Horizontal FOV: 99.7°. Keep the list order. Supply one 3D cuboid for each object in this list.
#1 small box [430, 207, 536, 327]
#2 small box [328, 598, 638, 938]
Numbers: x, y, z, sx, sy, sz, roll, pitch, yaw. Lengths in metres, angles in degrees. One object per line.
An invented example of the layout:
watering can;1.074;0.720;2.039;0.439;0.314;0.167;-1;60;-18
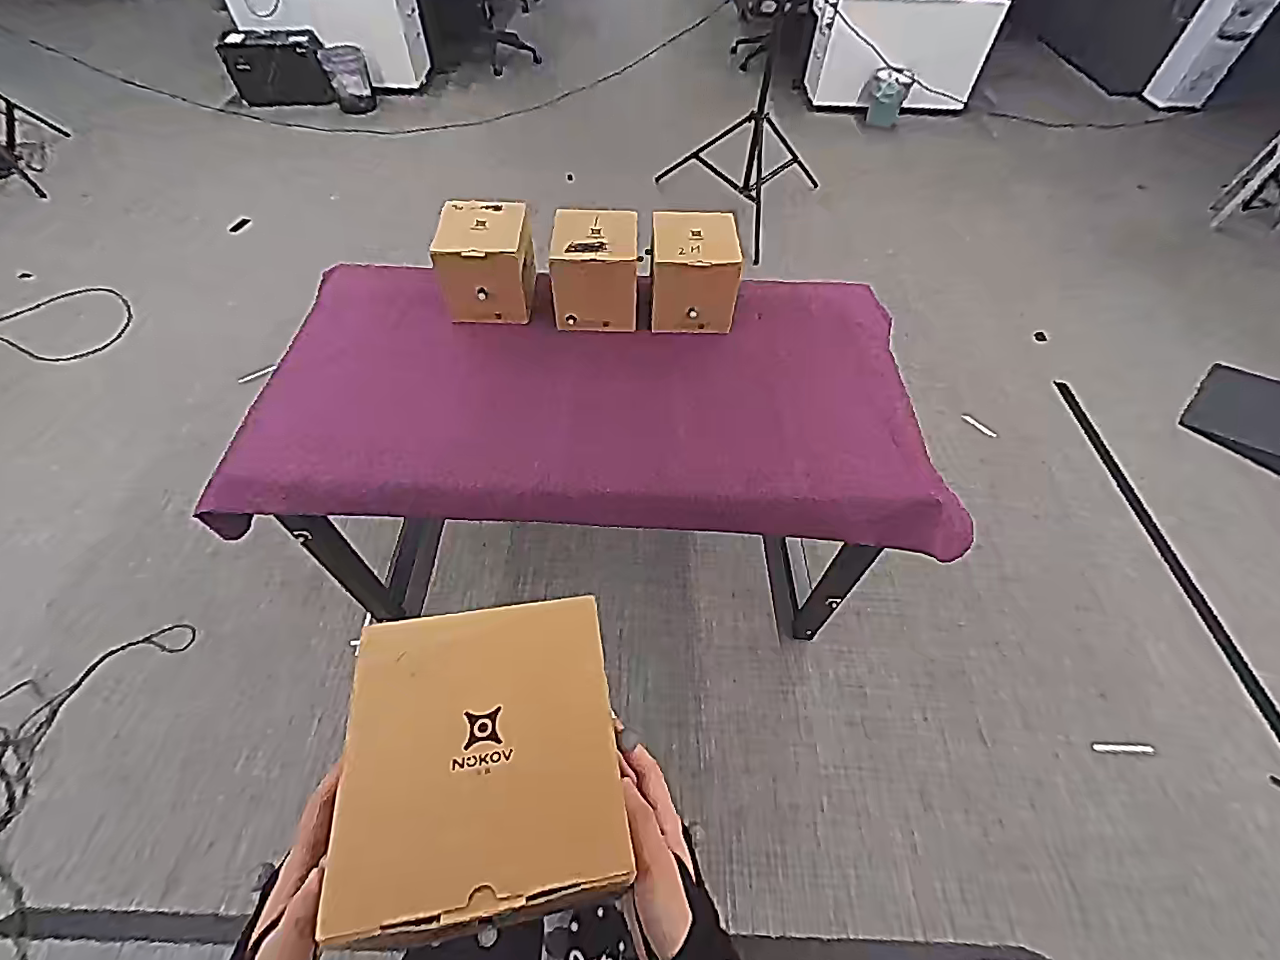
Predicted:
small box;-0.314;-0.436;1.119;0.168;0.176;0.179;1;57;-2
small box;-0.101;0.213;0.403;0.168;0.176;0.179;-6;51;-10
